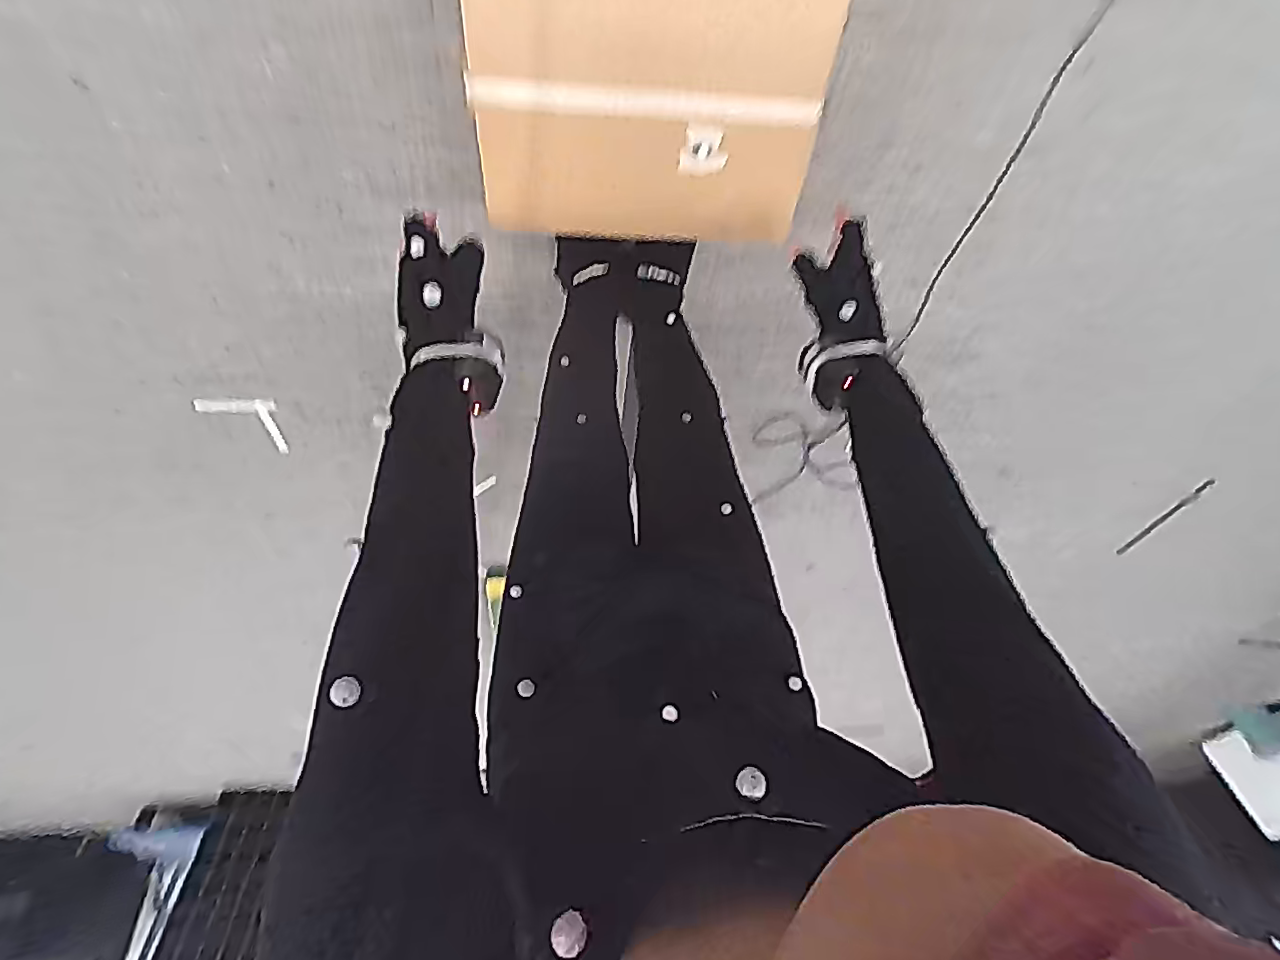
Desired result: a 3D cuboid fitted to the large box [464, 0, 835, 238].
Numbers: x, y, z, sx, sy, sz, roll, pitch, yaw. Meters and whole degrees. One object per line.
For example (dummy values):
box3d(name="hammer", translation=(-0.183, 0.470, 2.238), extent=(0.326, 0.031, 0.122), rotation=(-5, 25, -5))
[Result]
box3d(name="large box", translation=(-0.005, -0.550, 0.743), extent=(0.408, 0.320, 0.320), rotation=(-1, 136, -7))
